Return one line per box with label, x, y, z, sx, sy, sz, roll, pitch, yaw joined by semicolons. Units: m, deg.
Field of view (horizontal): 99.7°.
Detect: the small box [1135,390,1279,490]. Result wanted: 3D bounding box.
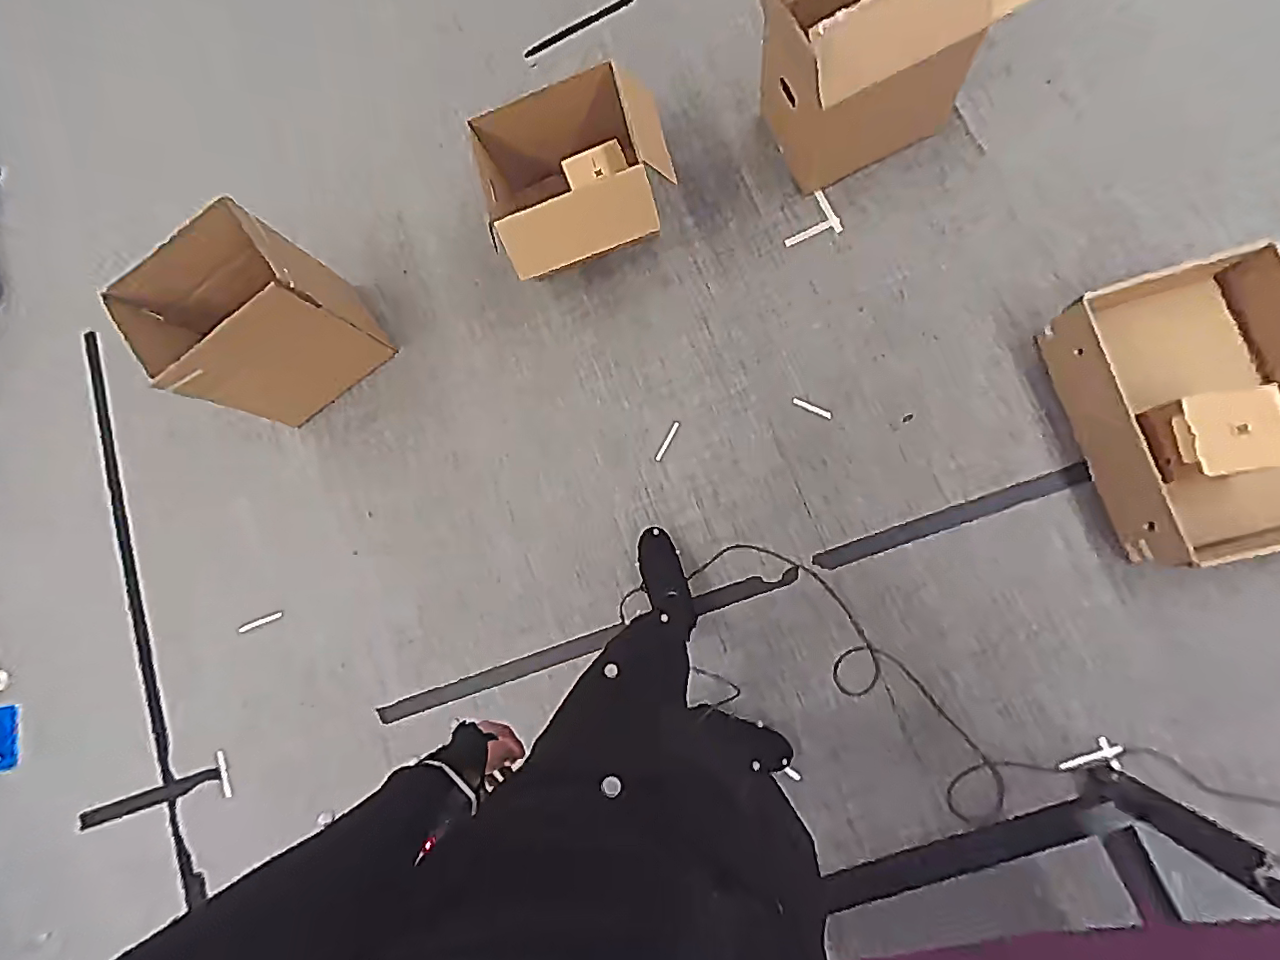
small box;1.211;-0.076;1.151;0.179;0.176;0.168;-8;80;9
